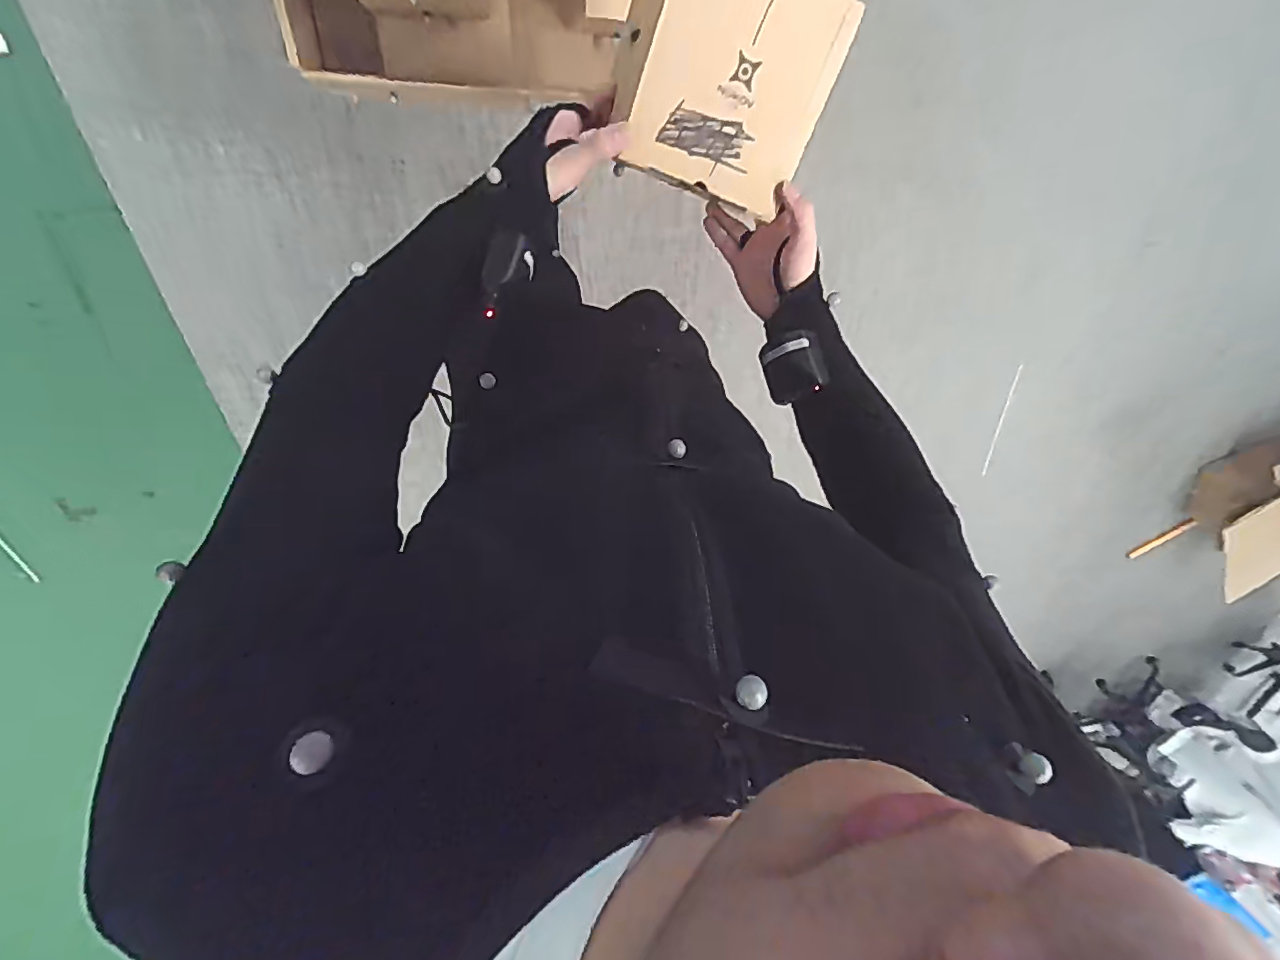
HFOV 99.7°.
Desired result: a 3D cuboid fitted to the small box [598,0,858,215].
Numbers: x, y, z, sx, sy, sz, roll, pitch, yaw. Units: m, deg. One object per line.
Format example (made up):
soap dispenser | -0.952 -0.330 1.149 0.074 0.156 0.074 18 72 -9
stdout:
small box | 0.064 -0.386 0.525 0.168 0.176 0.179 11 118 -21
